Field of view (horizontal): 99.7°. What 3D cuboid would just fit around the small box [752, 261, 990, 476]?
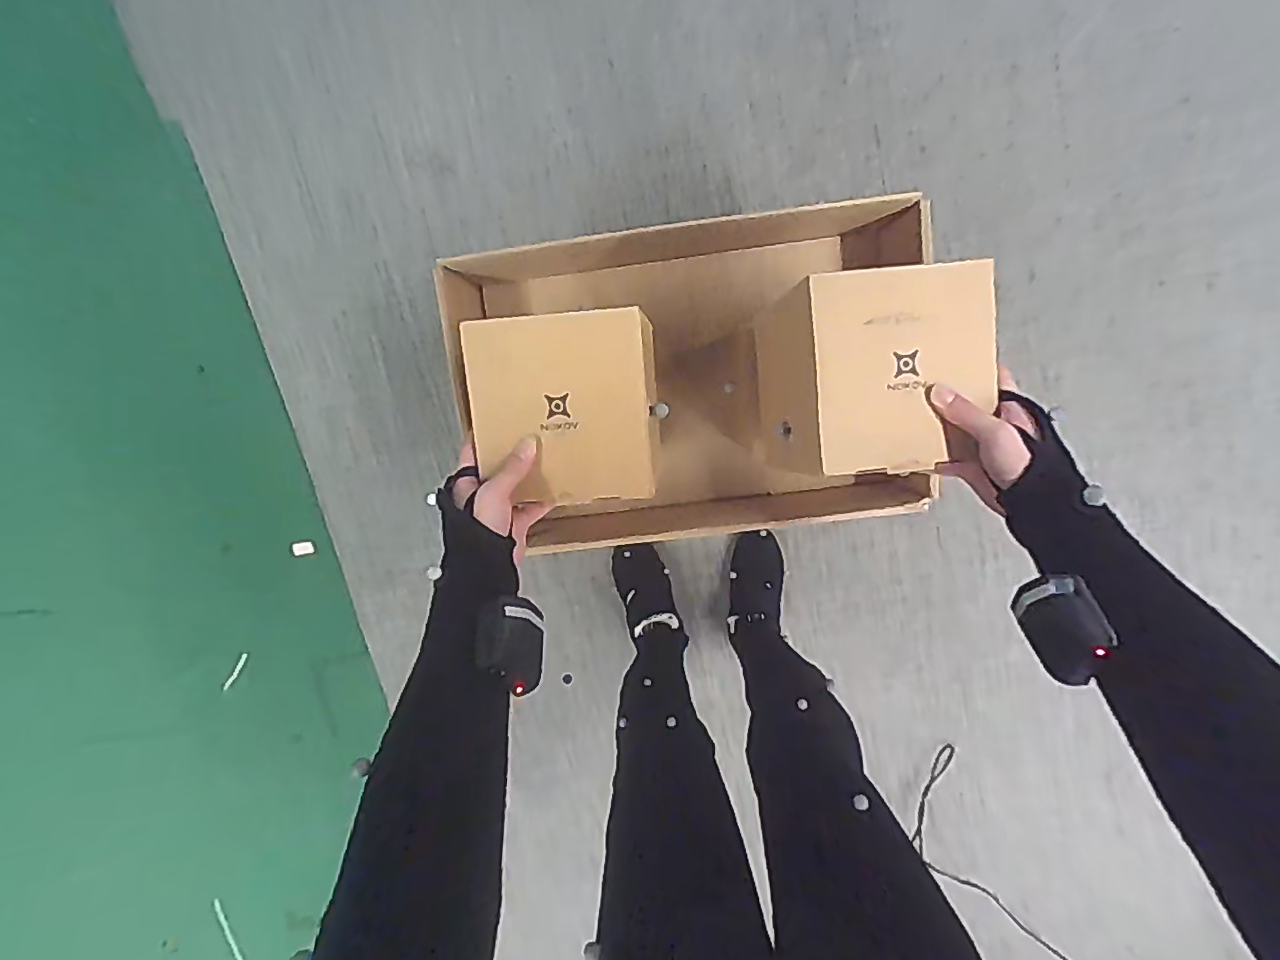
[{"bbox_3d":[0.218,-0.103,0.549,0.168,0.176,0.179,-6,94,-3],"label":"small box"}]

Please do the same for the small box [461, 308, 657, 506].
[{"bbox_3d":[-0.072,-0.079,0.582,0.168,0.176,0.179,-4,101,6],"label":"small box"}]
